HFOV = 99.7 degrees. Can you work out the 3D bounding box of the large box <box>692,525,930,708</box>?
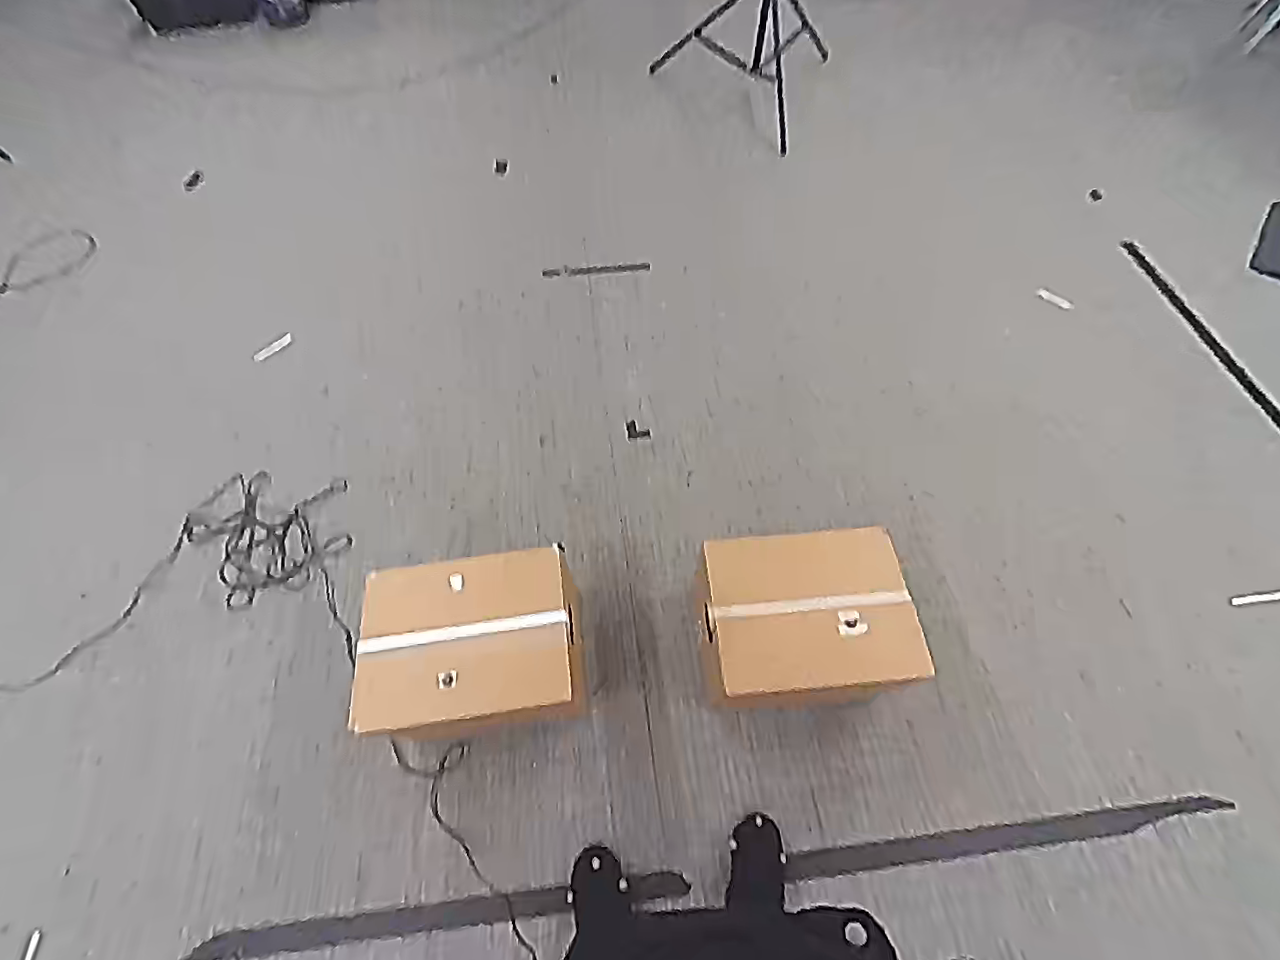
[{"bbox_3d":[0.348,0.320,1.230,0.408,0.320,0.320,-4,62,-2],"label":"large box"}]
